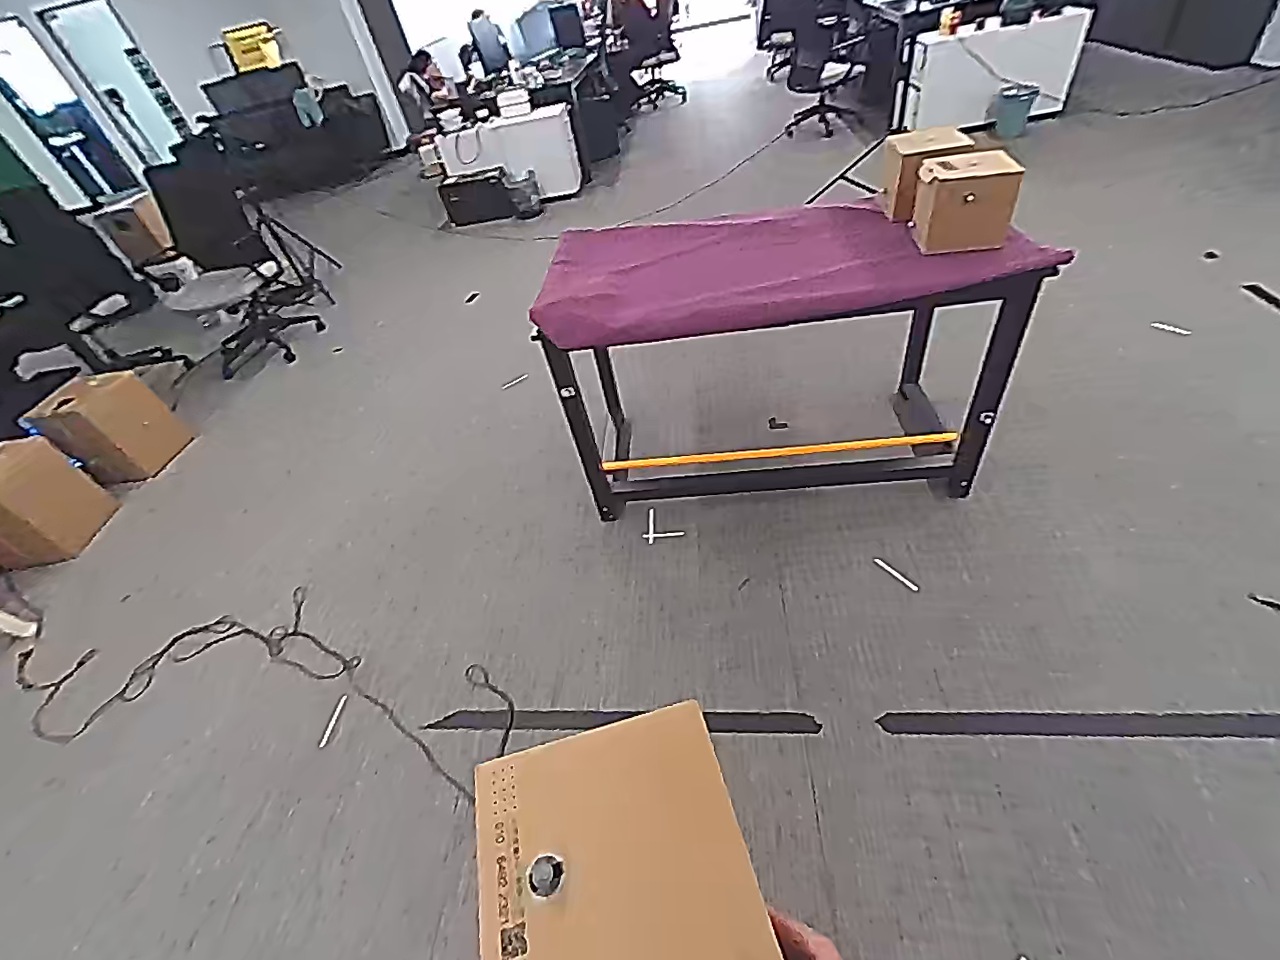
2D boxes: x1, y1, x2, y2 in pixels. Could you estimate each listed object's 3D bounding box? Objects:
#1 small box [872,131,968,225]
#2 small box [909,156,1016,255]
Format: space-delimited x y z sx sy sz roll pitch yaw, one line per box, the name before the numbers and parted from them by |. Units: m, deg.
small box | 0.751 -0.818 1.470 0.179 0.176 0.168 -5 45 9
small box | 0.760 -0.655 1.300 0.179 0.176 0.168 -1 44 13
